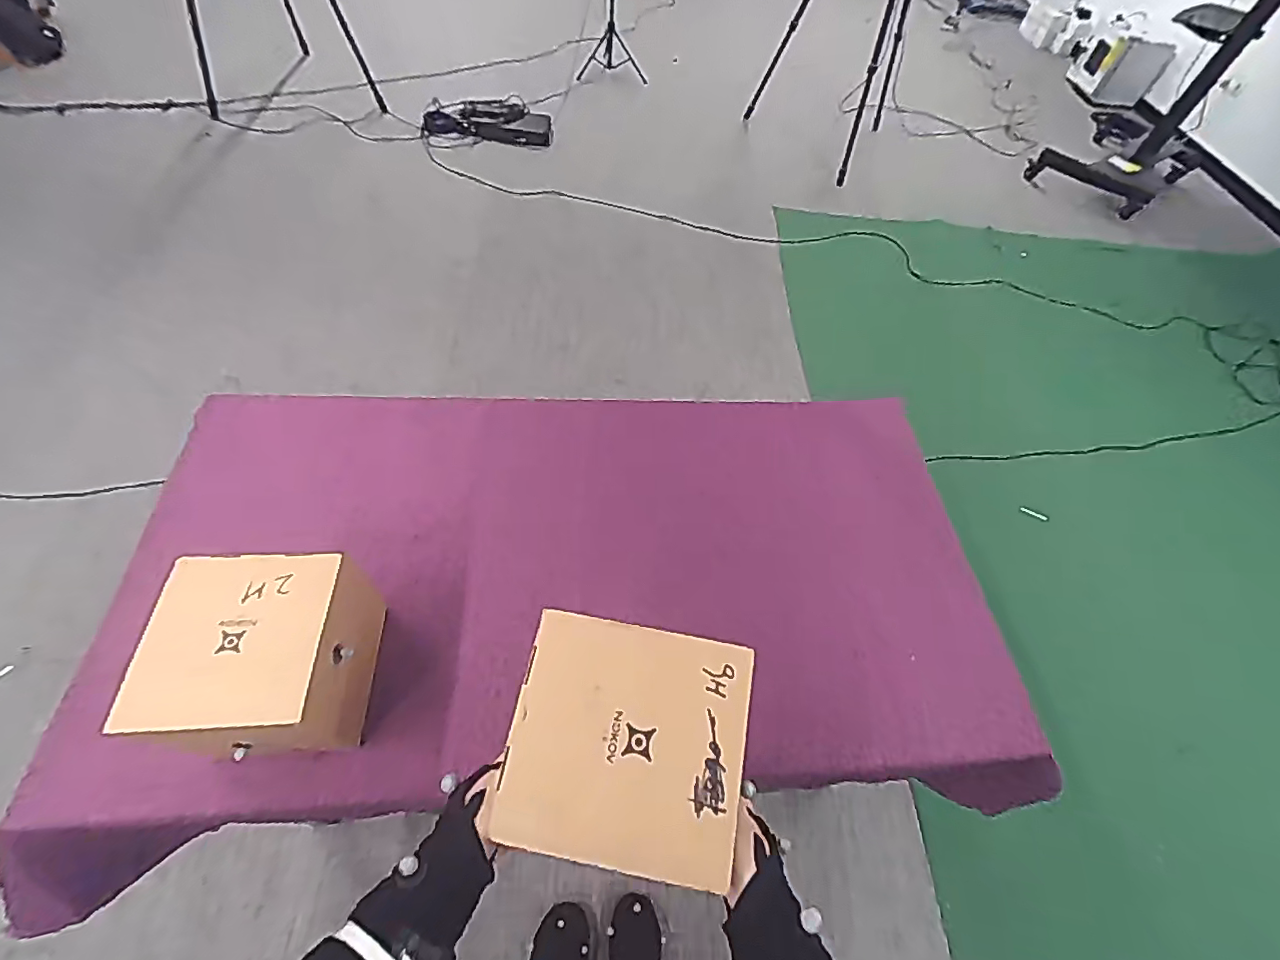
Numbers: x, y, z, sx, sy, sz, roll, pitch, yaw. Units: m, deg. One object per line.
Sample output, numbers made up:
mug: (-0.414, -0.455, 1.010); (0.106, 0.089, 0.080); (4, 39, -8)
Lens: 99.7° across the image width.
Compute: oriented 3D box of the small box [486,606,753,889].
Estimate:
small box: (-0.008, 0.225, 0.480); (0.179, 0.176, 0.168); (10, 66, 6)

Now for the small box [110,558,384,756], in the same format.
small box: (-0.404, 0.202, 0.601); (0.168, 0.176, 0.179); (1, 56, -7)
